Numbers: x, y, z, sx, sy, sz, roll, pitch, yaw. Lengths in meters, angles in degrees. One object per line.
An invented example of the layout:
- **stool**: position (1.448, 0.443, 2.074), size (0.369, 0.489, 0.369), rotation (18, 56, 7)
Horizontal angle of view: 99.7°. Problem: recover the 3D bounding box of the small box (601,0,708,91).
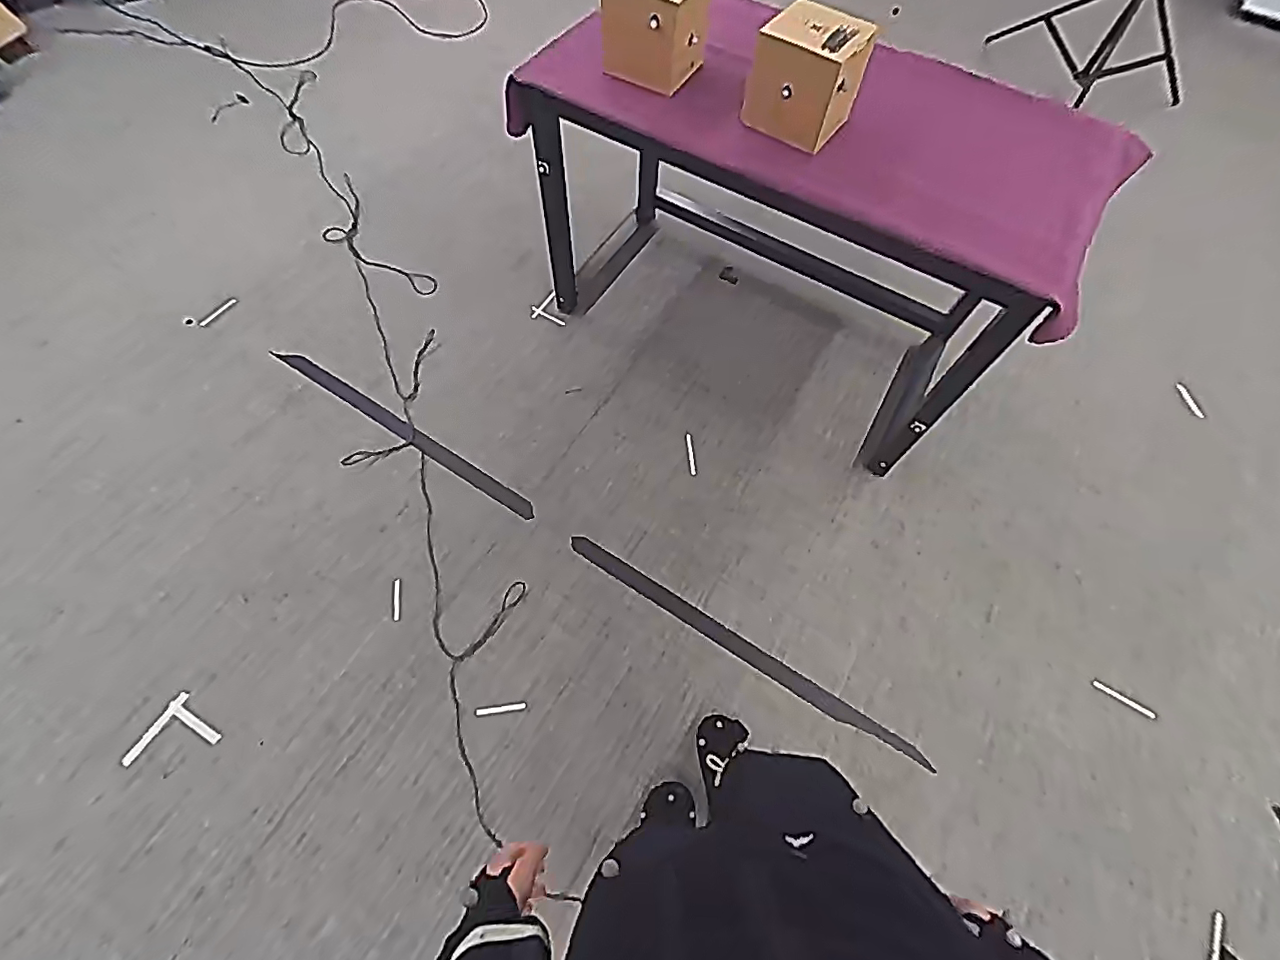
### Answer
- **small box**: position (0.034, -0.963, 1.140), size (0.179, 0.176, 0.168), rotation (27, 65, 11)
